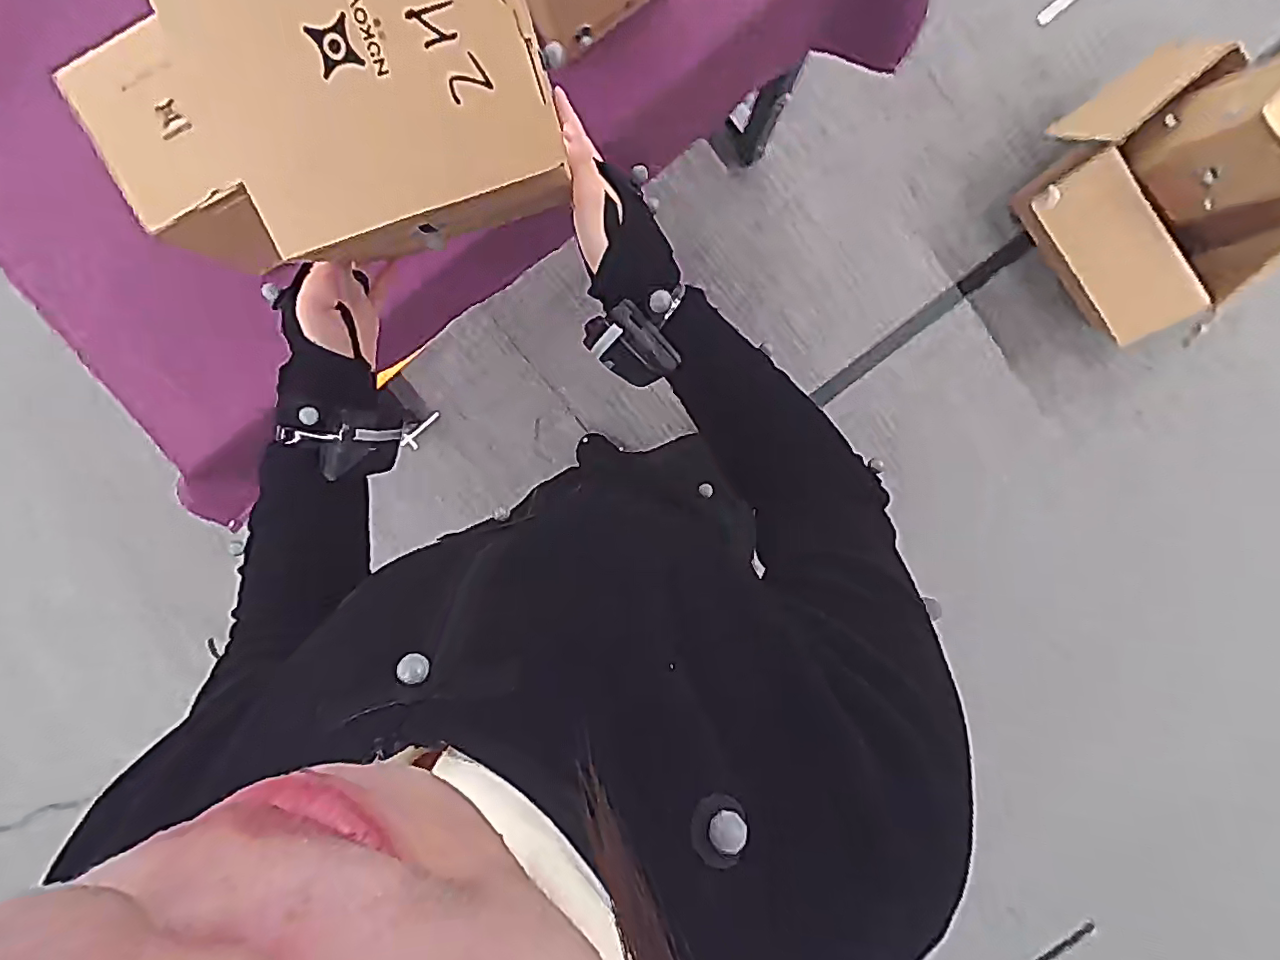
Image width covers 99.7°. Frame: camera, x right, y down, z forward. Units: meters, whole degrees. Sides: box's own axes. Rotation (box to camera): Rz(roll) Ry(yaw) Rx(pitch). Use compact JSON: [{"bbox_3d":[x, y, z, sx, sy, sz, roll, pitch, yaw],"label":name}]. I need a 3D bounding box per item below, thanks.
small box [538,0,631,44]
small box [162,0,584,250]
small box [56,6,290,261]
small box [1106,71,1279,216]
[{"bbox_3d":[-0.085,-0.630,0.585,0.168,0.176,0.179,-35,95,4],"label":"small box"},{"bbox_3d":[-0.144,-0.255,0.348,0.179,0.176,0.168,-15,113,4],"label":"small box"},{"bbox_3d":[-0.471,-0.374,0.621,0.168,0.176,0.179,-27,96,3],"label":"small box"},{"bbox_3d":[1.146,-0.686,1.128,0.179,0.176,0.168,29,99,-7],"label":"small box"}]
